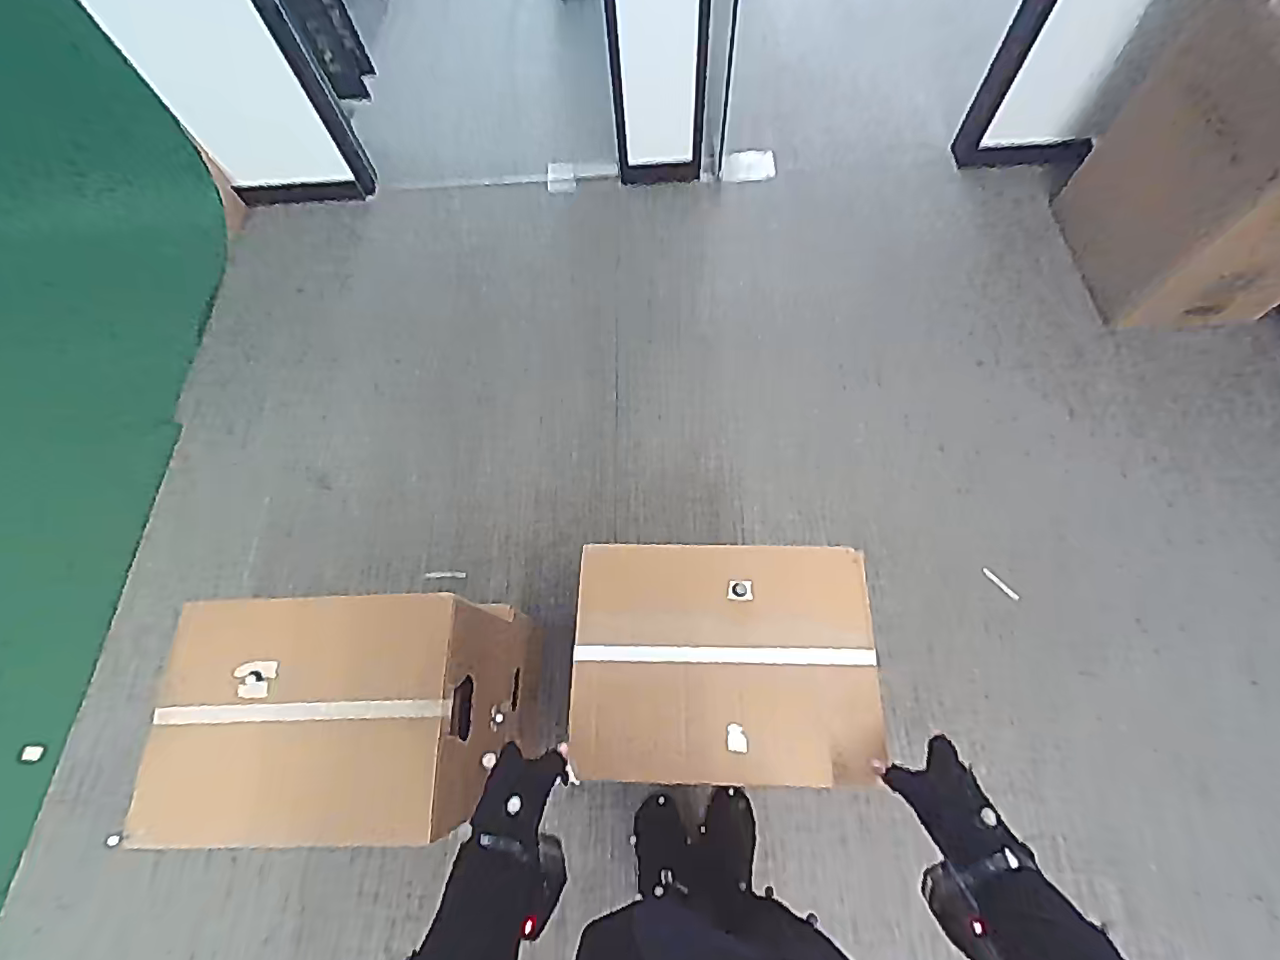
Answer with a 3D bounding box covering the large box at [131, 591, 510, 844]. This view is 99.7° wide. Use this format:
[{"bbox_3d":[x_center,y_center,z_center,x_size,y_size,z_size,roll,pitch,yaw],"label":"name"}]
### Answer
[{"bbox_3d":[-0.452,0.364,0.874,0.408,0.320,0.320,-2,69,4],"label":"large box"}]
